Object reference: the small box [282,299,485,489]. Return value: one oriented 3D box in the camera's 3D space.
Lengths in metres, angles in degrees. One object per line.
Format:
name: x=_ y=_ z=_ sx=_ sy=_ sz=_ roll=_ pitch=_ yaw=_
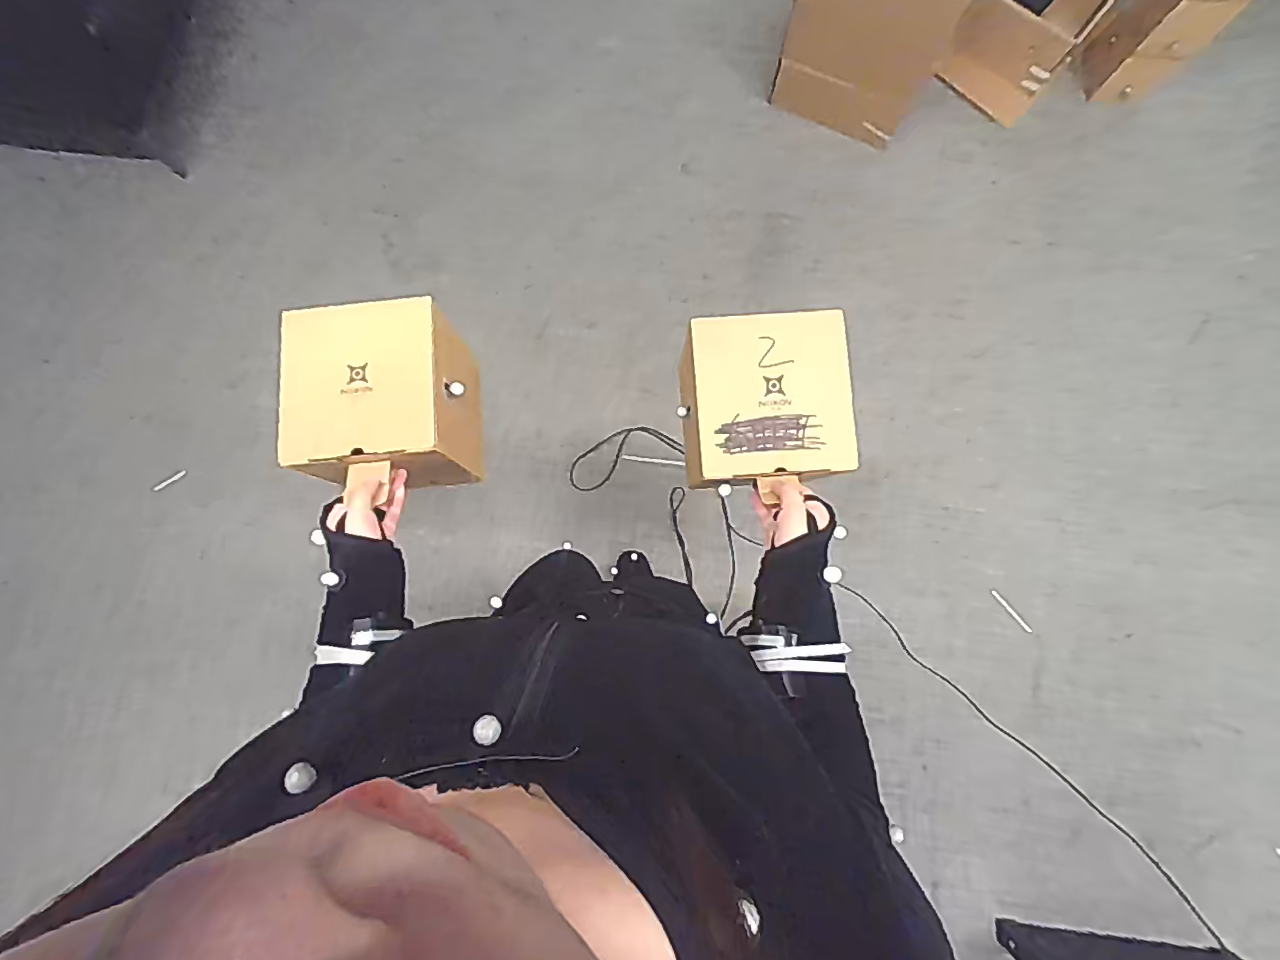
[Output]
small box: x=-0.292 y=-0.093 z=0.651 sx=0.168 sy=0.176 sz=0.179 roll=-5 pitch=79 yaw=-1
